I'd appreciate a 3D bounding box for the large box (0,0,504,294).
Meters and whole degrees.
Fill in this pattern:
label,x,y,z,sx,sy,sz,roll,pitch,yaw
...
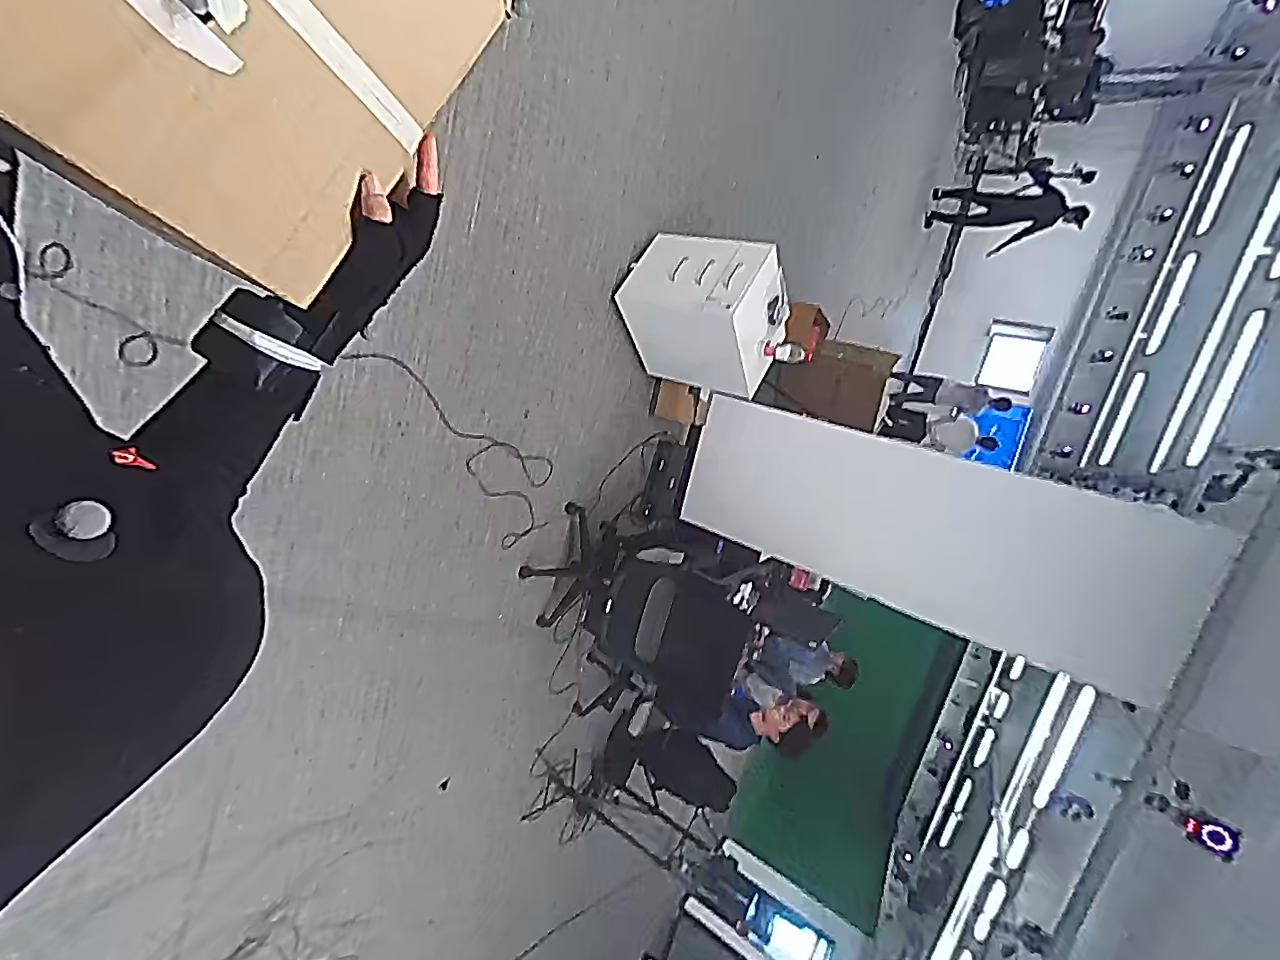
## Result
label,x,y,z,sx,sy,sz,roll,pitch,yaw
large box,-0.383,-0.393,0.350,0.320,0.320,0.408,-59,147,-5
